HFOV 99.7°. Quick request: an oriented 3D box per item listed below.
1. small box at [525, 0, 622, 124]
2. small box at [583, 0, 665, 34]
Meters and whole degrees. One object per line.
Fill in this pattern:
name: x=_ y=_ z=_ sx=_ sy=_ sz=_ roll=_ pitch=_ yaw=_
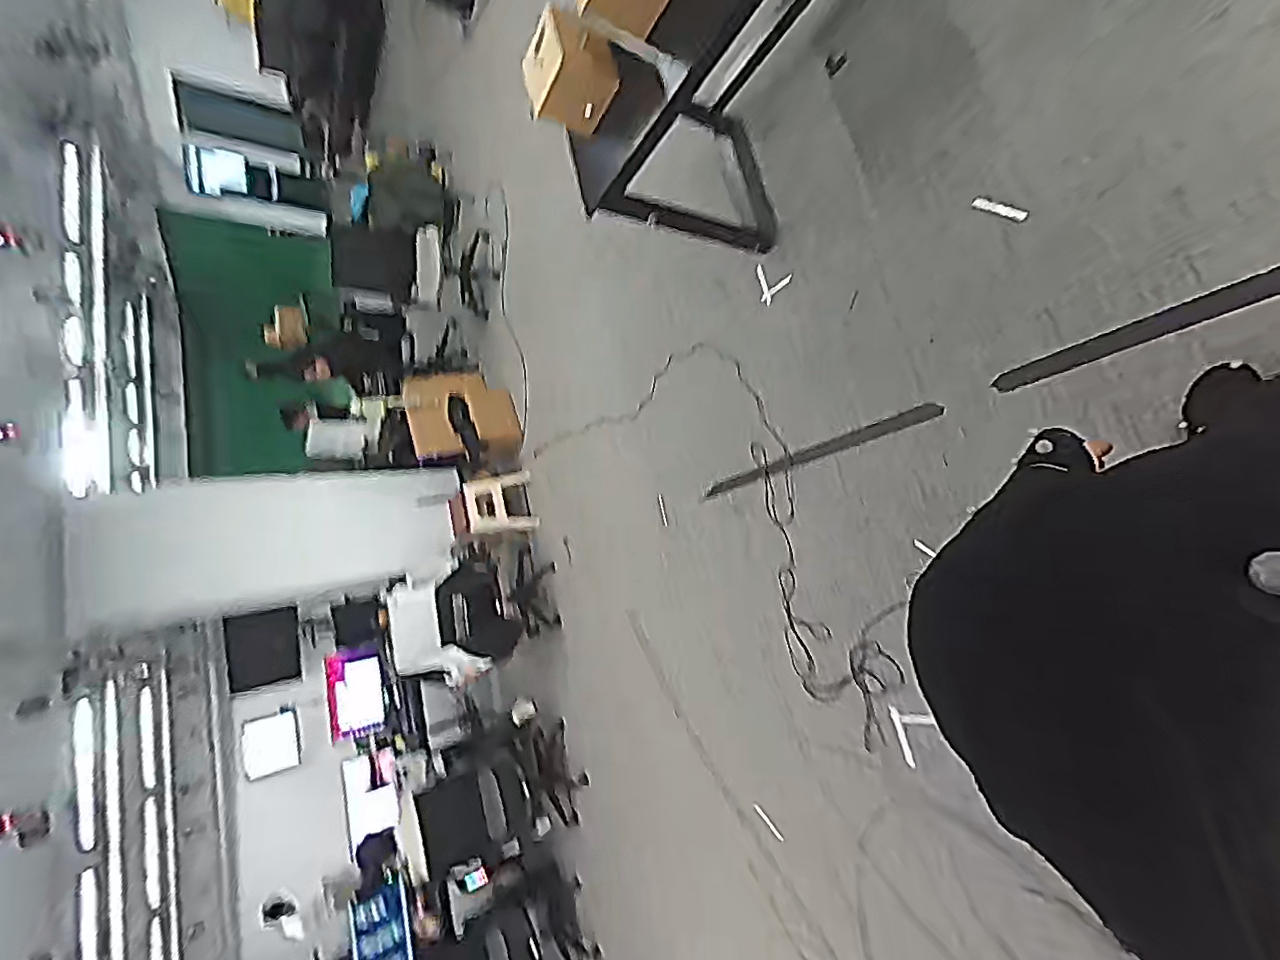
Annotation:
small box: x=-0.170 y=-1.057 z=1.380 sx=0.168 sy=0.176 sz=0.179 roll=-31 pitch=70 yaw=52
small box: x=-0.026 y=-1.134 z=1.169 sx=0.179 sy=0.176 sz=0.168 roll=-28 pitch=71 yaw=52
